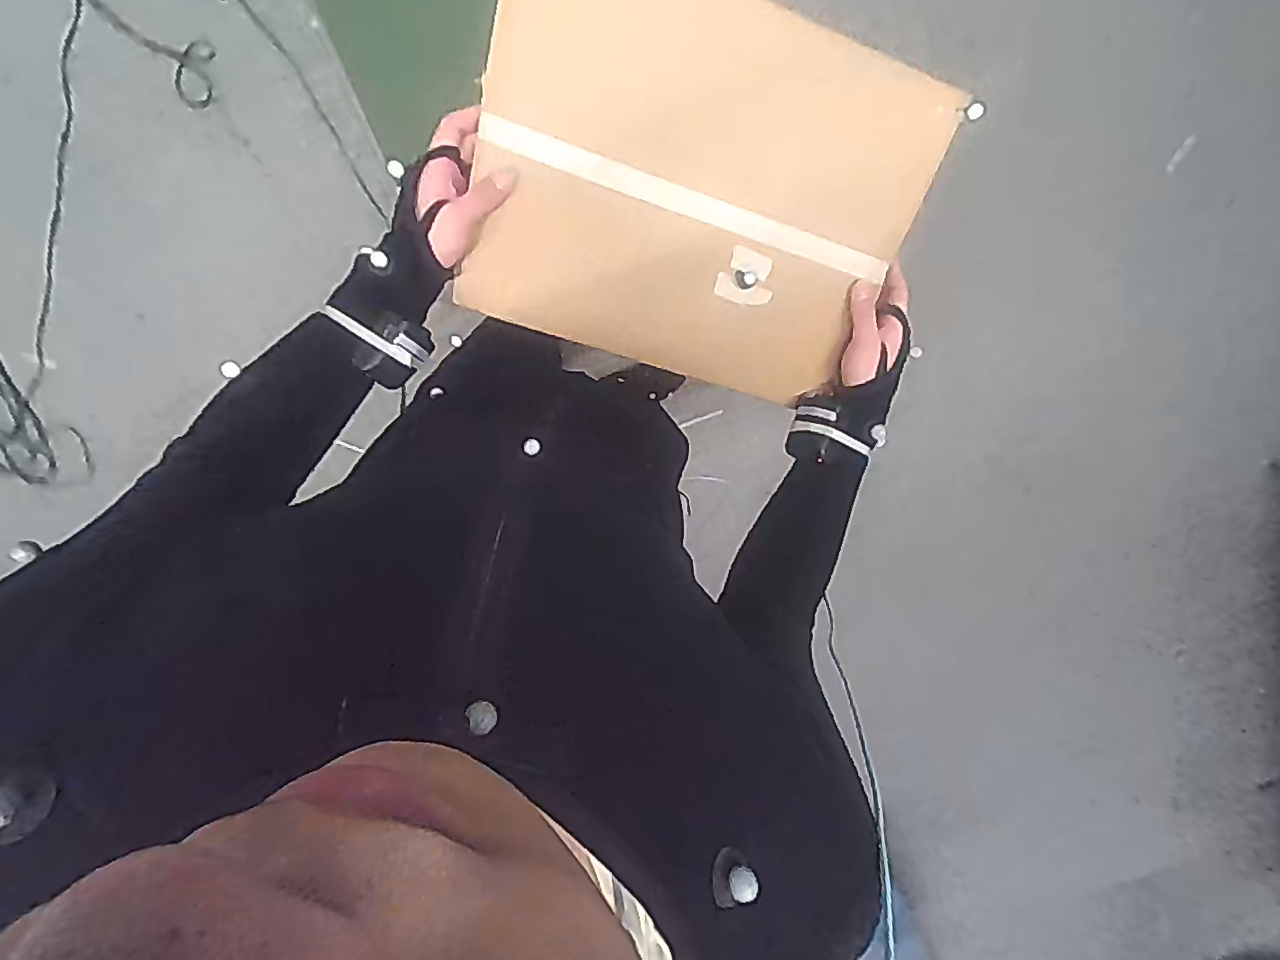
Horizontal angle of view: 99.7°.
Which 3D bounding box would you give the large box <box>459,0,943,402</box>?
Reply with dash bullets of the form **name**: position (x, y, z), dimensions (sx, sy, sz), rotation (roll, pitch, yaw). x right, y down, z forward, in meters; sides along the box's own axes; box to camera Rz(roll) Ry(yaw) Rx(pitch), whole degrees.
- **large box**: position (0.034, -0.326, 0.649), dimensions (0.408, 0.320, 0.320), rotation (13, 115, -12)
